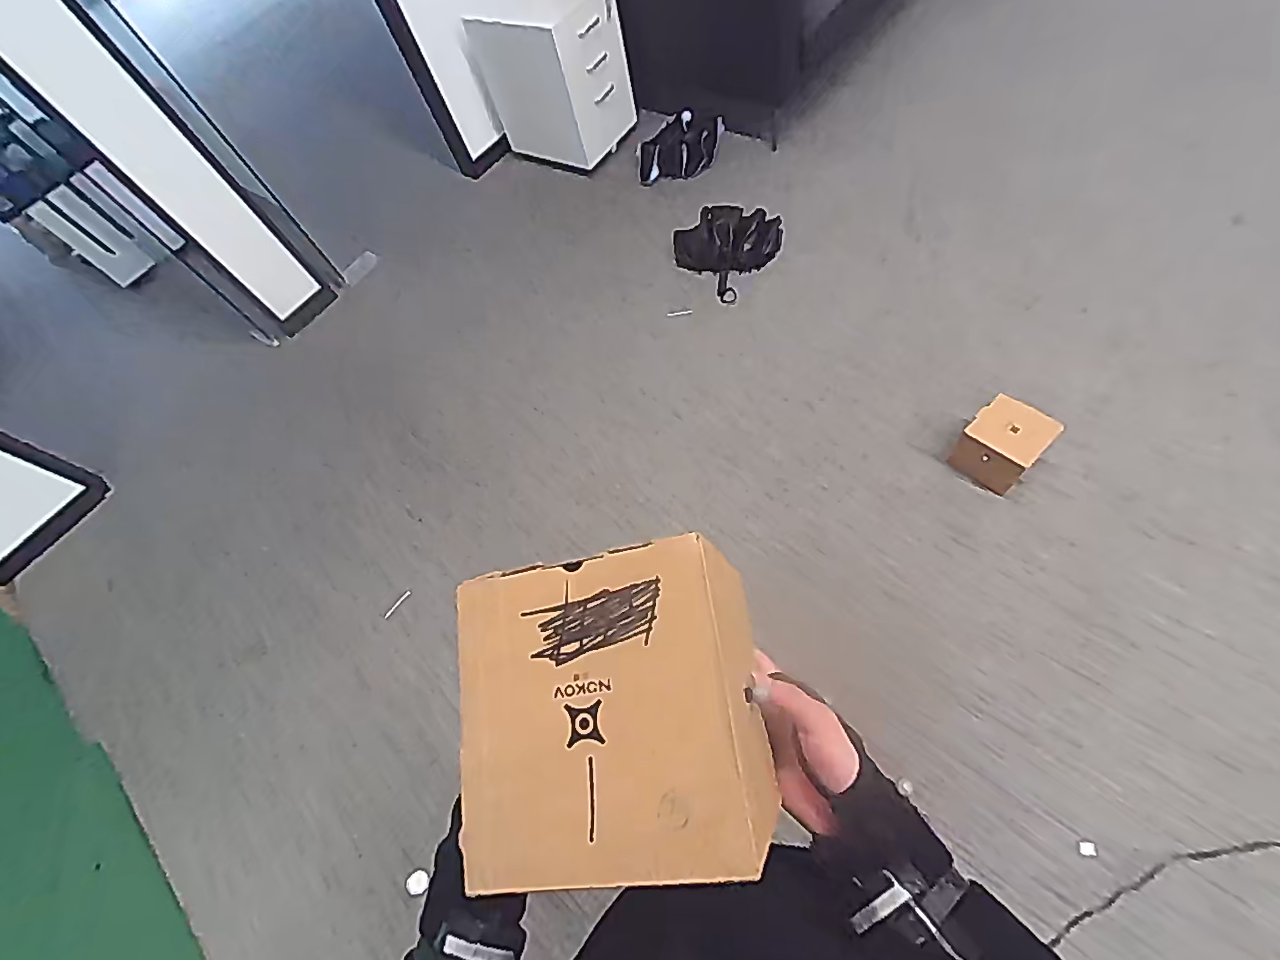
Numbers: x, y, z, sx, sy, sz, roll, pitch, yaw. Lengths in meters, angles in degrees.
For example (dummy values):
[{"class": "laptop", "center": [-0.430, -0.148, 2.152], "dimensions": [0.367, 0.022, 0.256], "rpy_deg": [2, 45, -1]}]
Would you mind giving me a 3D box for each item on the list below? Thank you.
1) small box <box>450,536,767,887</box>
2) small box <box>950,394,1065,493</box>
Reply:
[{"class": "small box", "center": [-0.012, 0.153, 0.381], "dimensions": [0.168, 0.176, 0.179], "rpy_deg": [-13, 70, 15]}, {"class": "small box", "center": [0.986, -0.094, 1.473], "dimensions": [0.168, 0.176, 0.179], "rpy_deg": [-43, 63, -10]}]
